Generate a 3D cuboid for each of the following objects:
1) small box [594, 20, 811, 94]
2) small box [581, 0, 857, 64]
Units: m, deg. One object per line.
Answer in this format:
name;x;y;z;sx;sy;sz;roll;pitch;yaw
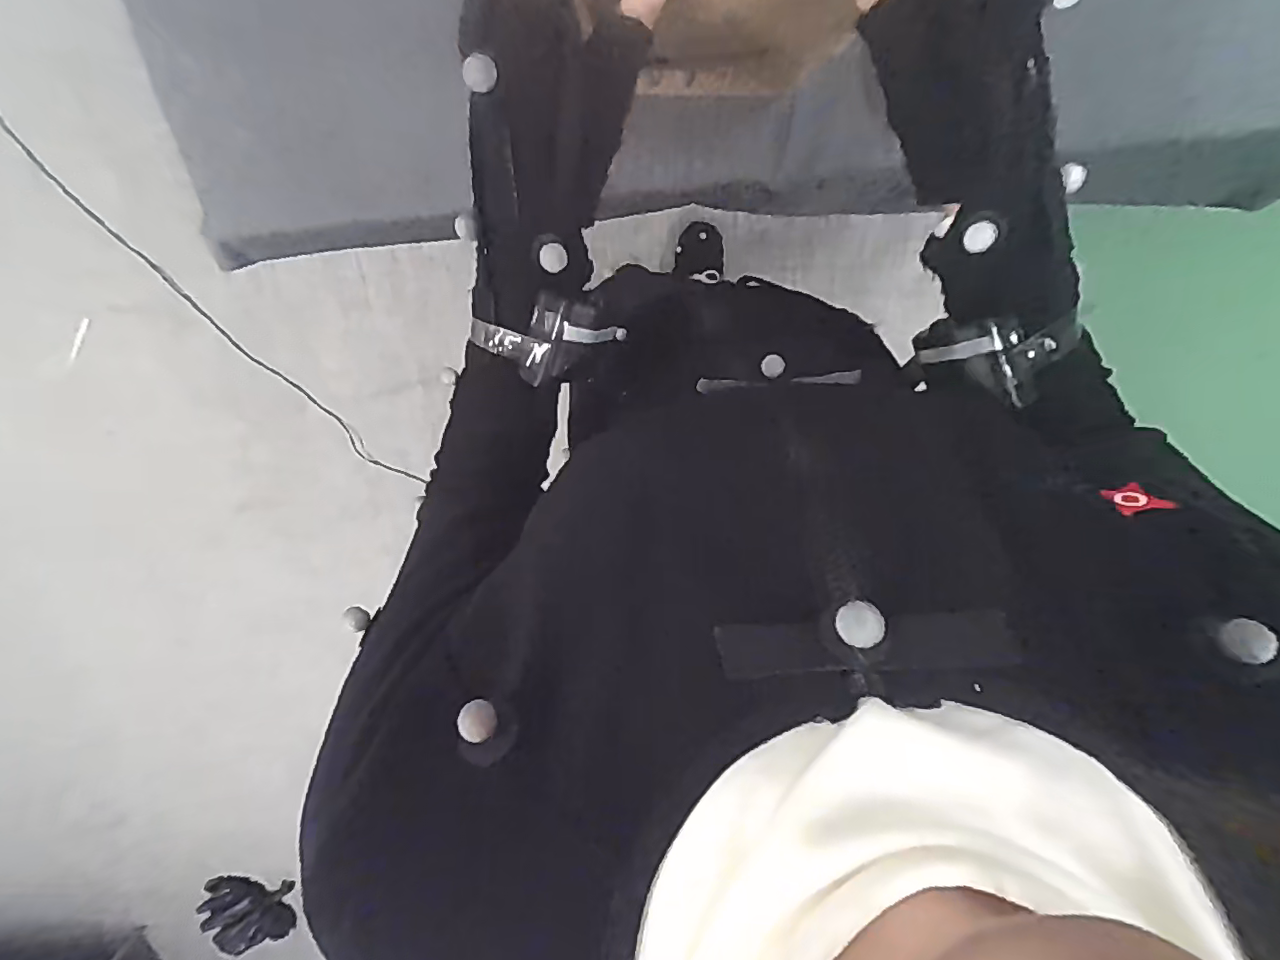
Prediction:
small box;0.056;-0.428;0.430;0.179;0.176;0.168;-1;112;3
small box;0.045;-0.348;0.283;0.168;0.176;0.179;-6;114;6
